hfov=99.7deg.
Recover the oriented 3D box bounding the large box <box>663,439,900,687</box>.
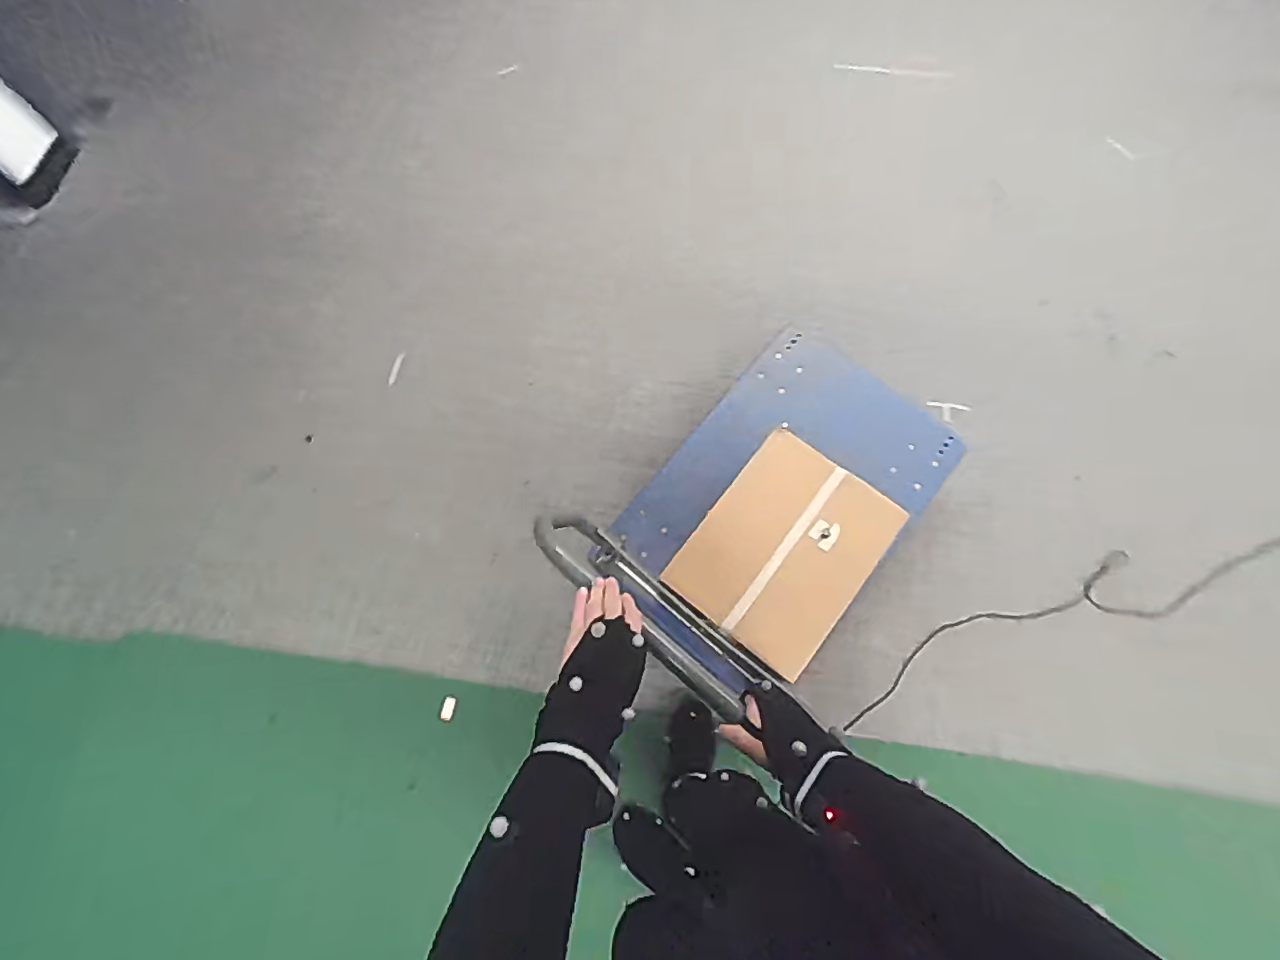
[{"bbox_3d":[0.289,0.193,1.211,0.320,0.320,0.408,37,78,12],"label":"large box"}]
